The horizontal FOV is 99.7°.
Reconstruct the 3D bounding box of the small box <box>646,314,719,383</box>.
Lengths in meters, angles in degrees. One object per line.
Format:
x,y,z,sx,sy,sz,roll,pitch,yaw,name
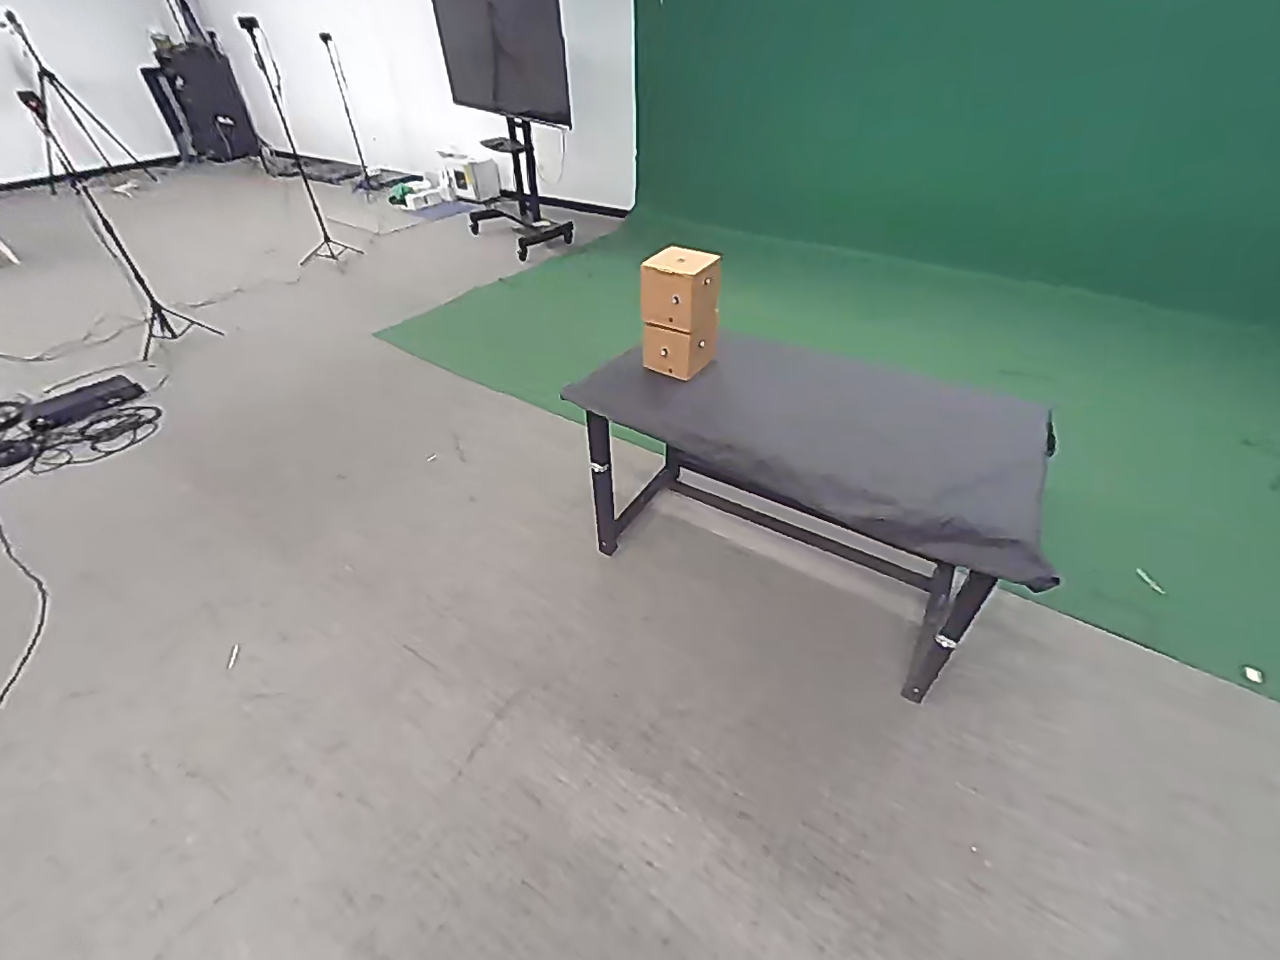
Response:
0.133,-0.426,1.696,0.168,0.176,0.179,25,47,25,small box

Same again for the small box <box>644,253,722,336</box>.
0.126,-0.542,1.581,0.168,0.176,0.179,23,45,23,small box
